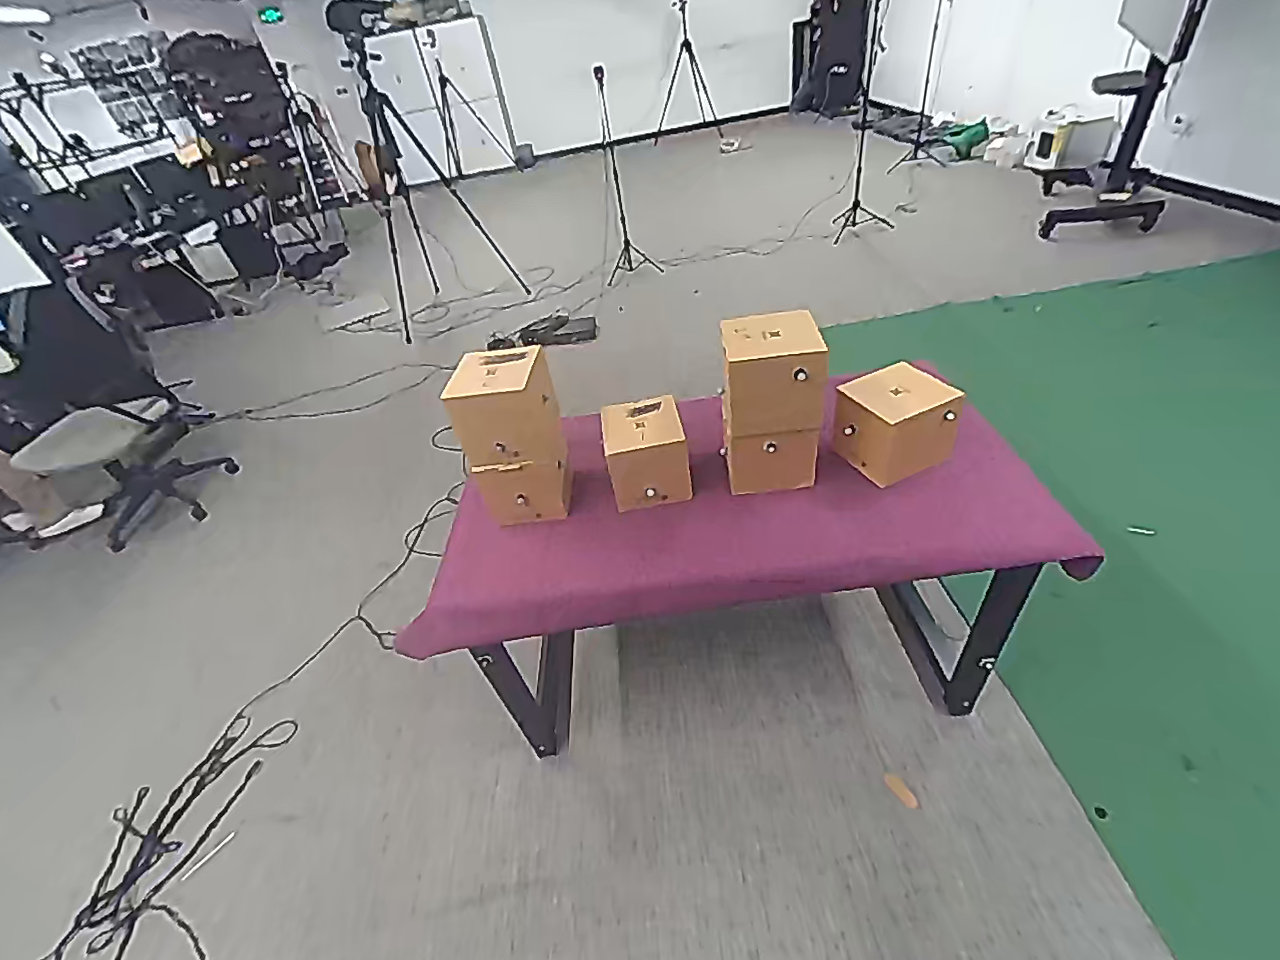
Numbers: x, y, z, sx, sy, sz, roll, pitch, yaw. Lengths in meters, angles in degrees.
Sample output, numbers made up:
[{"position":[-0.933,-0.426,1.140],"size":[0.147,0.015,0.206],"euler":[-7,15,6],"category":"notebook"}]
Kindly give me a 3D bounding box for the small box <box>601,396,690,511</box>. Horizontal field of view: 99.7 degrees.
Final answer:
[{"position":[0.010,-0.058,1.180],"size":[0.168,0.176,0.179],"euler":[-10,40,1],"category":"small box"}]

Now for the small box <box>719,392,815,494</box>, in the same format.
[{"position":[0.268,-0.084,1.156],"size":[0.179,0.176,0.168],"euler":[-5,41,7],"category":"small box"}]

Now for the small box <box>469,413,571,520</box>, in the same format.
[{"position":[-0.255,-0.024,1.199],"size":[0.168,0.176,0.179],"euler":[-6,41,5],"category":"small box"}]

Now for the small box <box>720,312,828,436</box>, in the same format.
[{"position":[0.250,-0.203,1.044],"size":[0.179,0.176,0.168],"euler":[-5,40,7],"category":"small box"}]

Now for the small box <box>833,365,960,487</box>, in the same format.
[{"position":[0.524,-0.110,1.131],"size":[0.179,0.176,0.168],"euler":[-21,41,-11],"category":"small box"}]
